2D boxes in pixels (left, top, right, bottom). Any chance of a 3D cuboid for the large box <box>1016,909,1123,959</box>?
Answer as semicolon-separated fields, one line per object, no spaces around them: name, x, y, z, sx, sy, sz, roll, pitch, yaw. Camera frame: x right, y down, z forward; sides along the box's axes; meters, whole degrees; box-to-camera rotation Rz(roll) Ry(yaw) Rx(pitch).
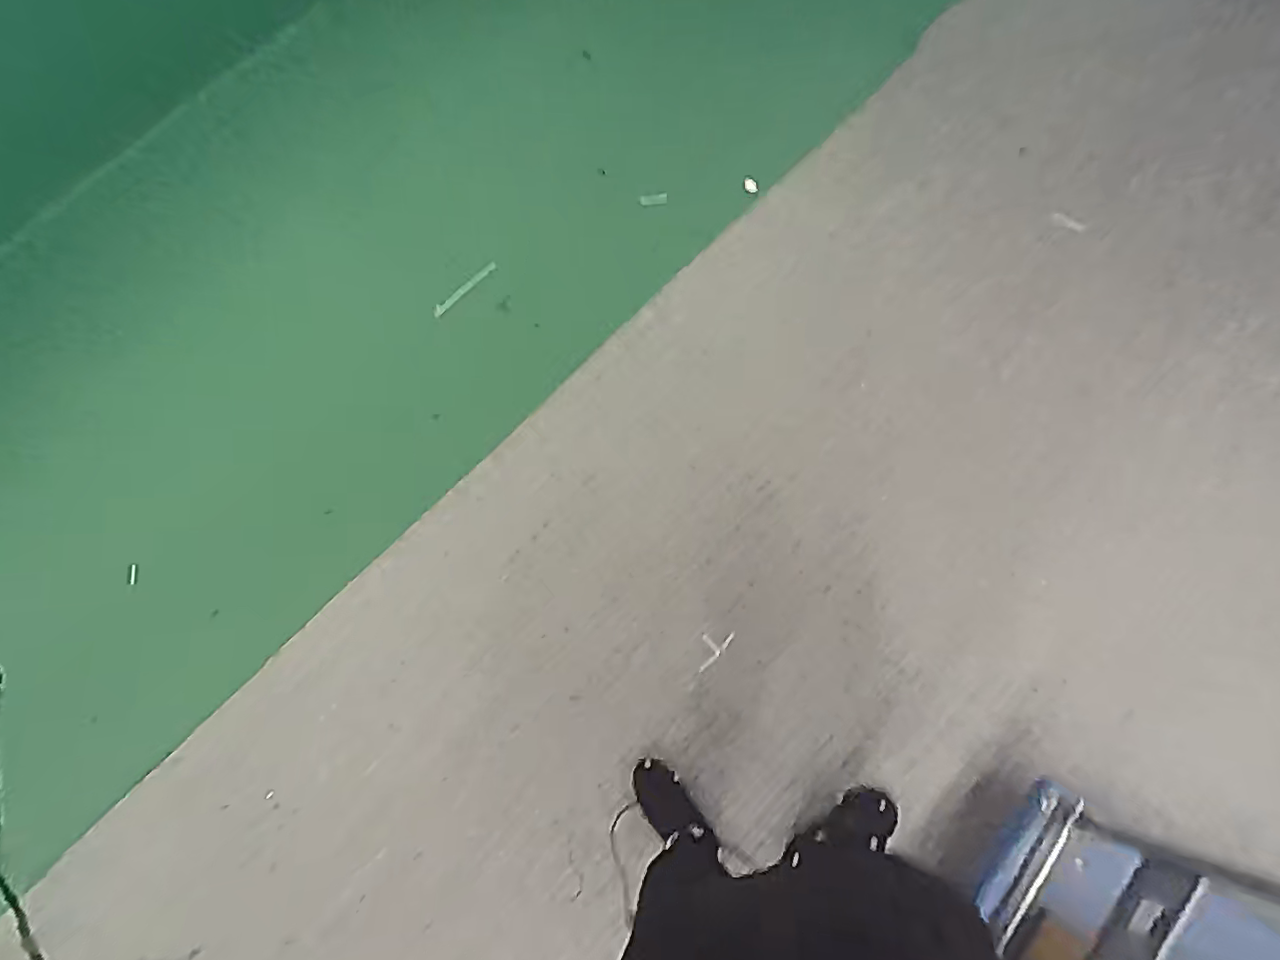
large box;0.804;0.973;0.798;0.408;0.320;0.320;34;79;22
